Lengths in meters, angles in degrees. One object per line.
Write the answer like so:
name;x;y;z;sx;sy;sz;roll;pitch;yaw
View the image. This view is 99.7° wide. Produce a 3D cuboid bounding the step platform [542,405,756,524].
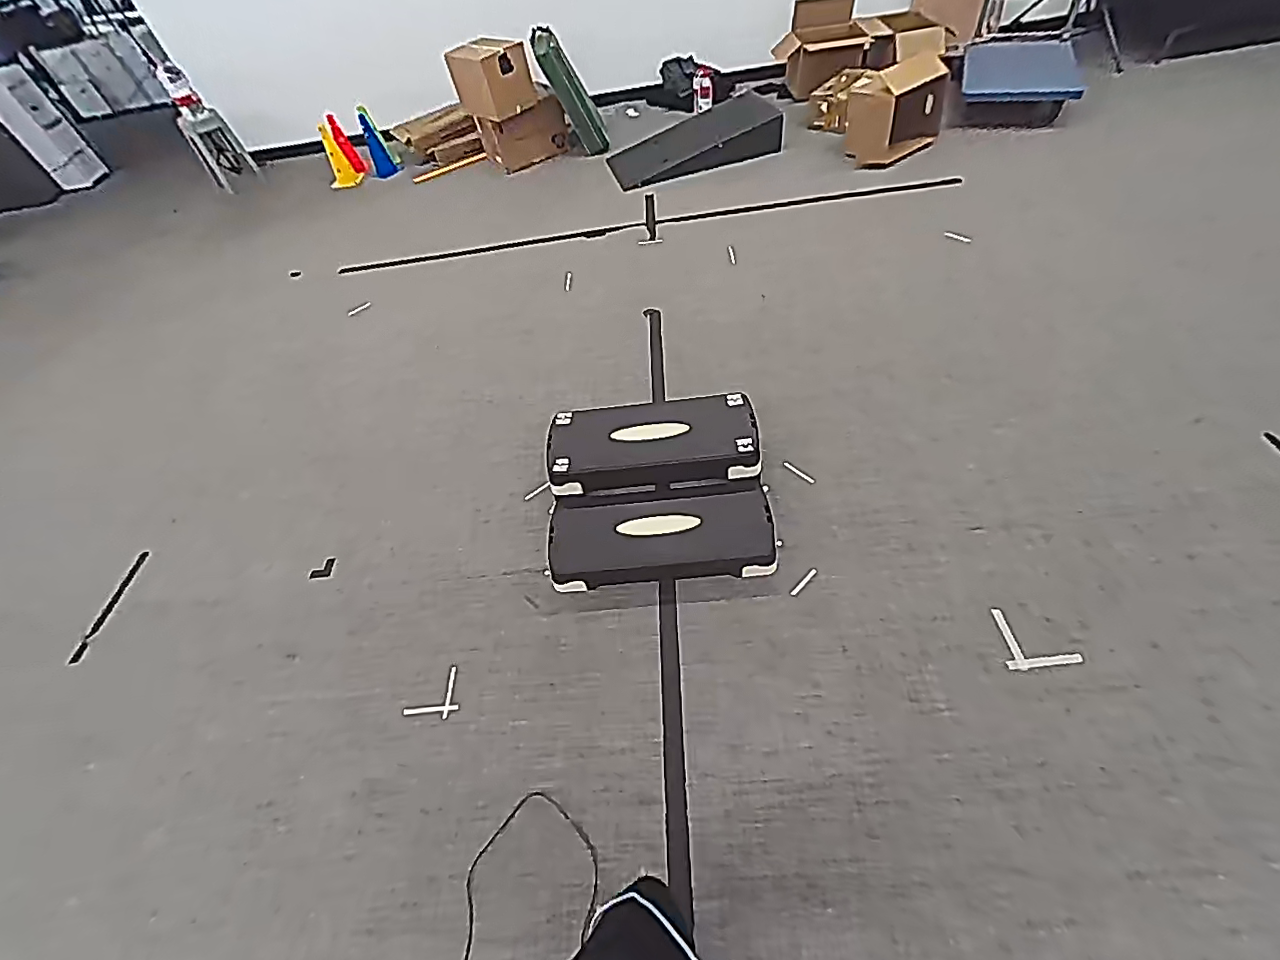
step platform;0.027;-0.054;1.762;0.684;0.204;0.286;-6;52;4
